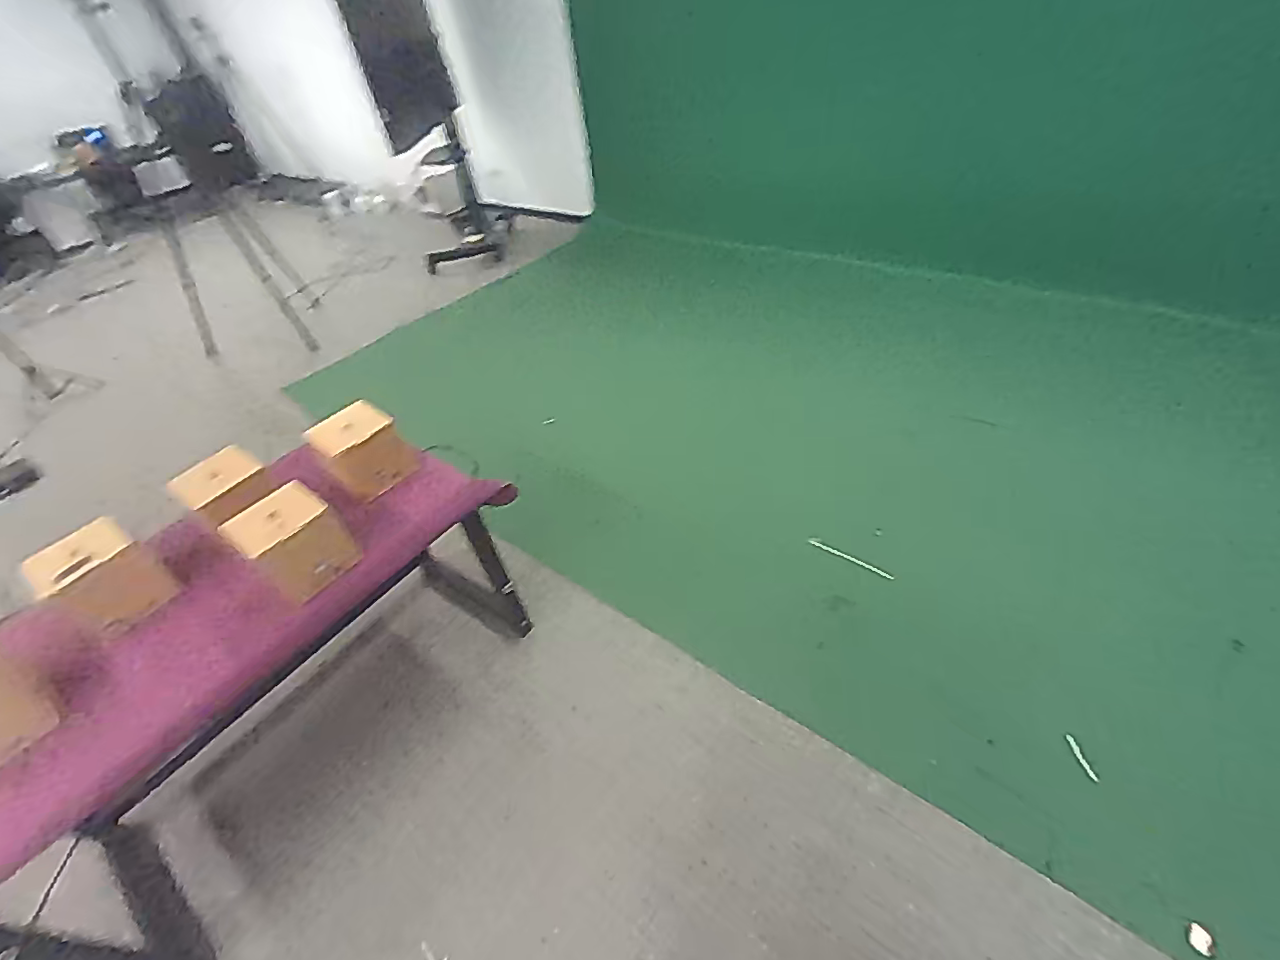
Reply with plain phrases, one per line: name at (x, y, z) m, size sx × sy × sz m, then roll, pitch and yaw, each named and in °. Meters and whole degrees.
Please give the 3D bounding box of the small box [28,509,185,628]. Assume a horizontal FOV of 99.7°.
small box at (-1.173, 0.201, 1.202) m, size 0.179 × 0.176 × 0.168 m, roll 23°, pitch 51°, yaw 30°

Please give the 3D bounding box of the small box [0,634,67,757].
small box at (-1.228, 0.402, 0.991) m, size 0.179 × 0.176 × 0.168 m, roll 24°, pitch 53°, yaw 31°

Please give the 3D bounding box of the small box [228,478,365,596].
small box at (-0.763, 0.128, 1.214) m, size 0.179 × 0.176 × 0.168 m, roll 24°, pitch 52°, yaw 32°

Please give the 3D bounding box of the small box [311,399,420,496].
small box at (-0.725, -0.085, 1.440) m, size 0.179 × 0.176 × 0.168 m, roll 26°, pitch 53°, yaw 31°

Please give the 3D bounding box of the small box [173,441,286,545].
small box at (-1.000, 0.035, 1.355) m, size 0.179 × 0.176 × 0.168 m, roll 23°, pitch 52°, yaw 29°
